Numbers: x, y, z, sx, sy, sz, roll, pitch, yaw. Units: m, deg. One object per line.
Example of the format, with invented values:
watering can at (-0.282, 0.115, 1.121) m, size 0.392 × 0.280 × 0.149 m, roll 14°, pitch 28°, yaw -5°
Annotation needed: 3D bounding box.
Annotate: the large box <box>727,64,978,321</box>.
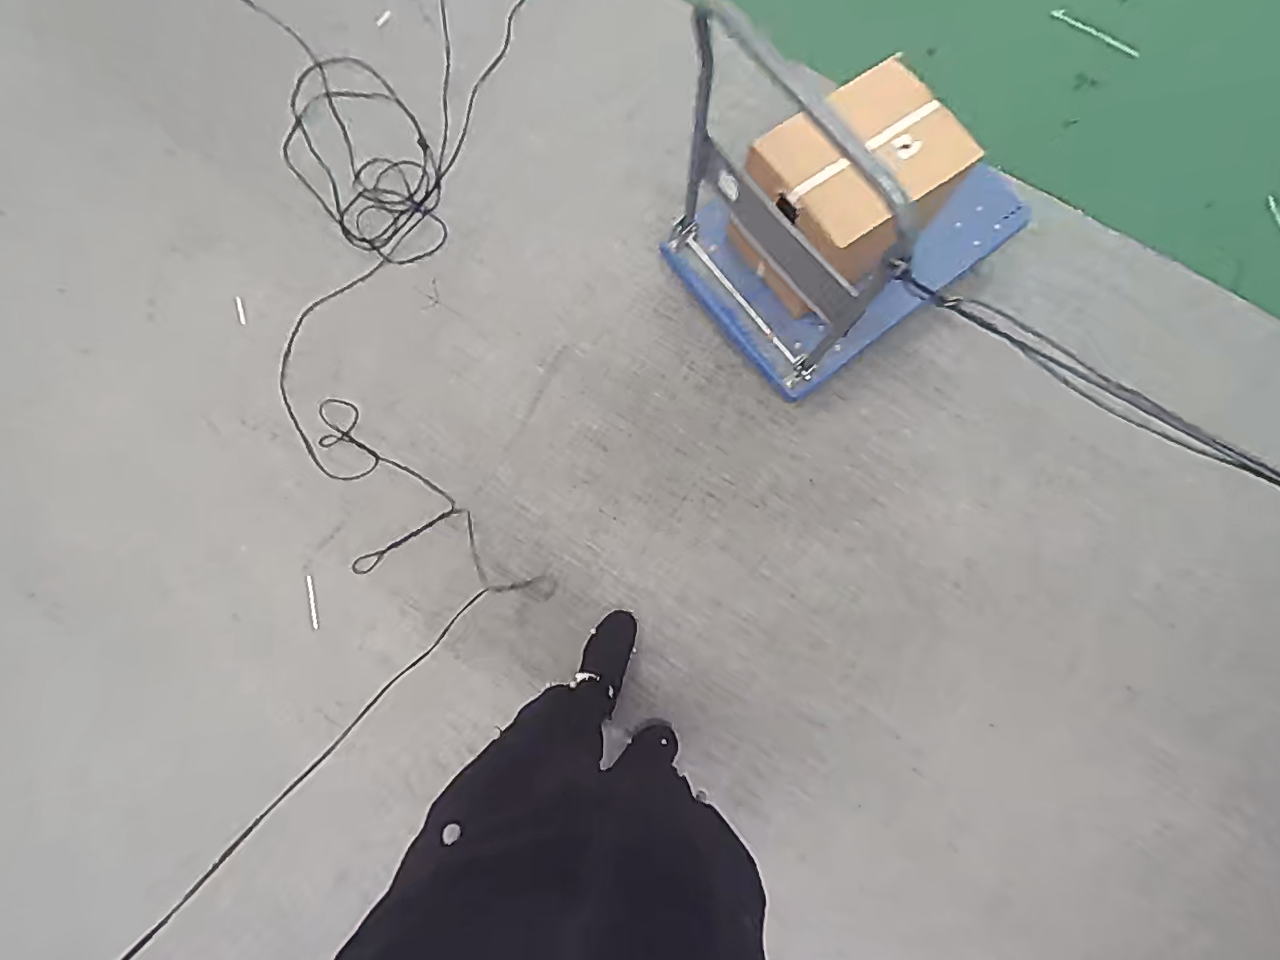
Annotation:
large box at (0.476, -0.664, 1.299) m, size 0.408 × 0.320 × 0.320 m, roll -34°, pitch 82°, yaw -8°
